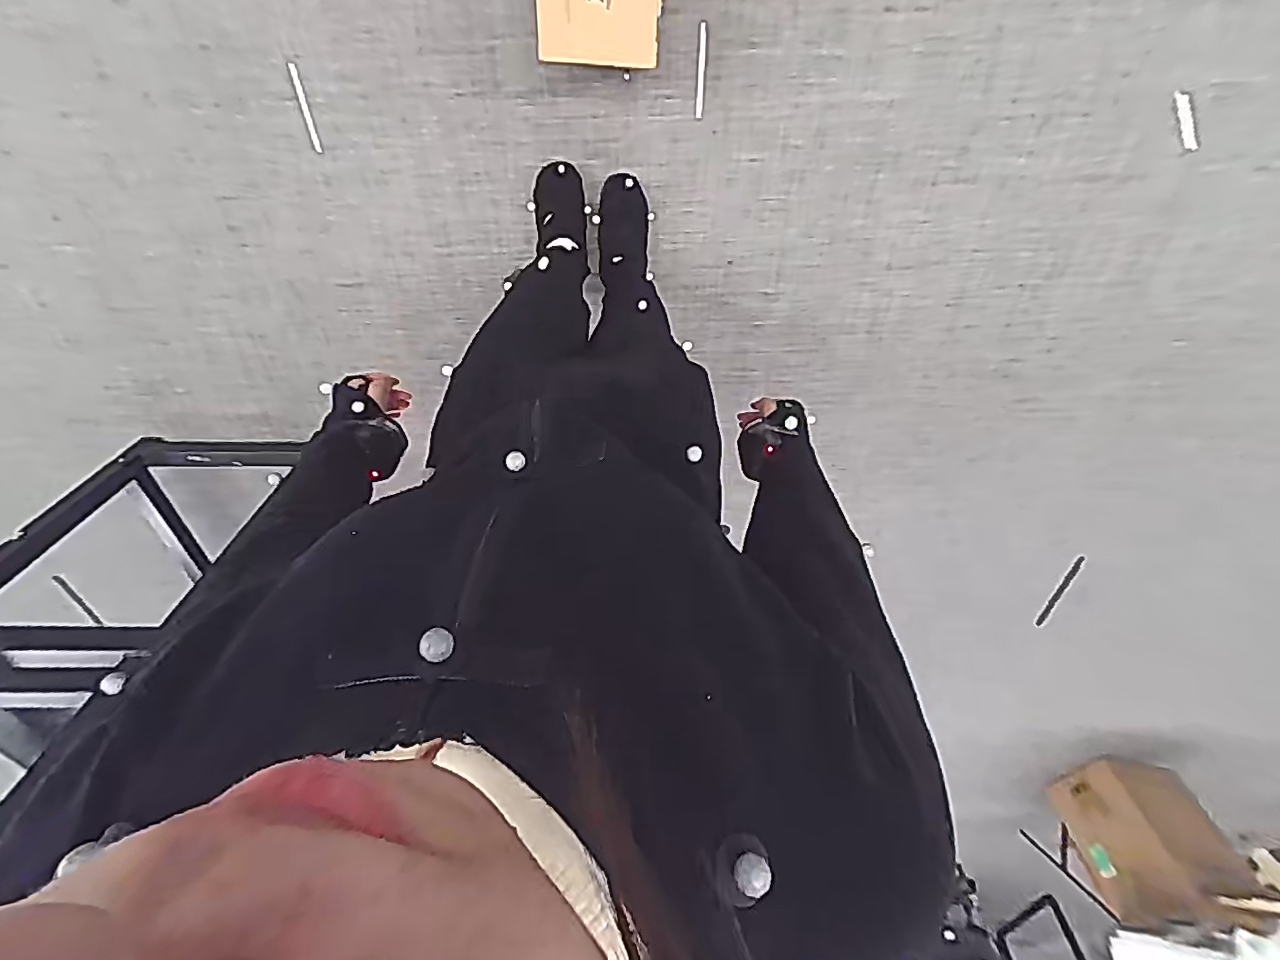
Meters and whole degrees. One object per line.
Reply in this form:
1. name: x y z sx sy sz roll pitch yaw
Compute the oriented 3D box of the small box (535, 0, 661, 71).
1. small box: -0.059 -0.718 0.799 0.179 0.176 0.168 3 128 -3
